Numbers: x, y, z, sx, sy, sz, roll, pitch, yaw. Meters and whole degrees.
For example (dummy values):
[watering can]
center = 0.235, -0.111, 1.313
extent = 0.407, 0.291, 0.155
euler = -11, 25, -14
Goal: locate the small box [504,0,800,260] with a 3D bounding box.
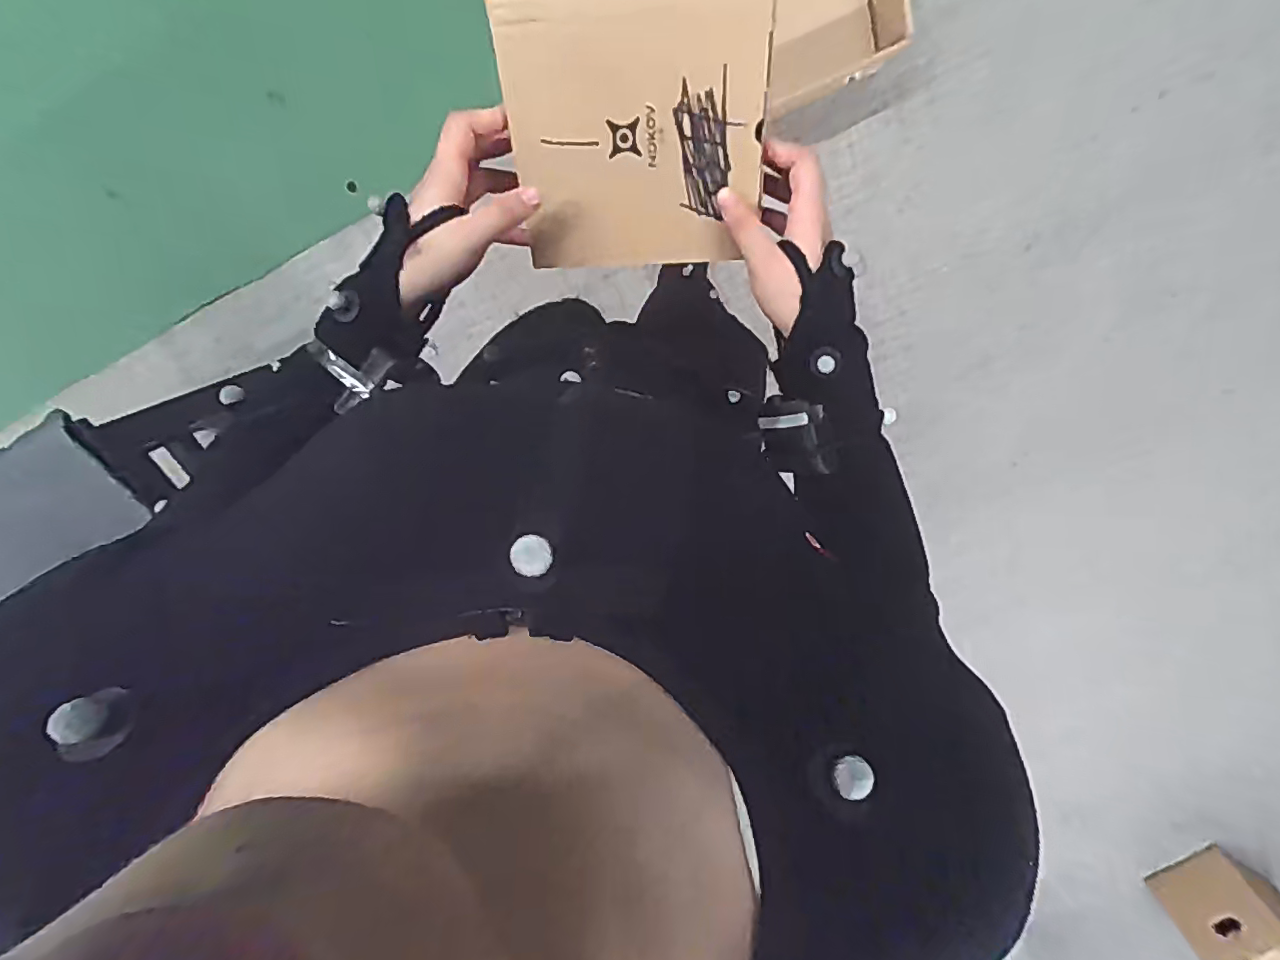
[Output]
[small box]
center = 0.014, -0.282, 0.417
extent = 0.179, 0.176, 0.168
euler = -1, 128, 5
